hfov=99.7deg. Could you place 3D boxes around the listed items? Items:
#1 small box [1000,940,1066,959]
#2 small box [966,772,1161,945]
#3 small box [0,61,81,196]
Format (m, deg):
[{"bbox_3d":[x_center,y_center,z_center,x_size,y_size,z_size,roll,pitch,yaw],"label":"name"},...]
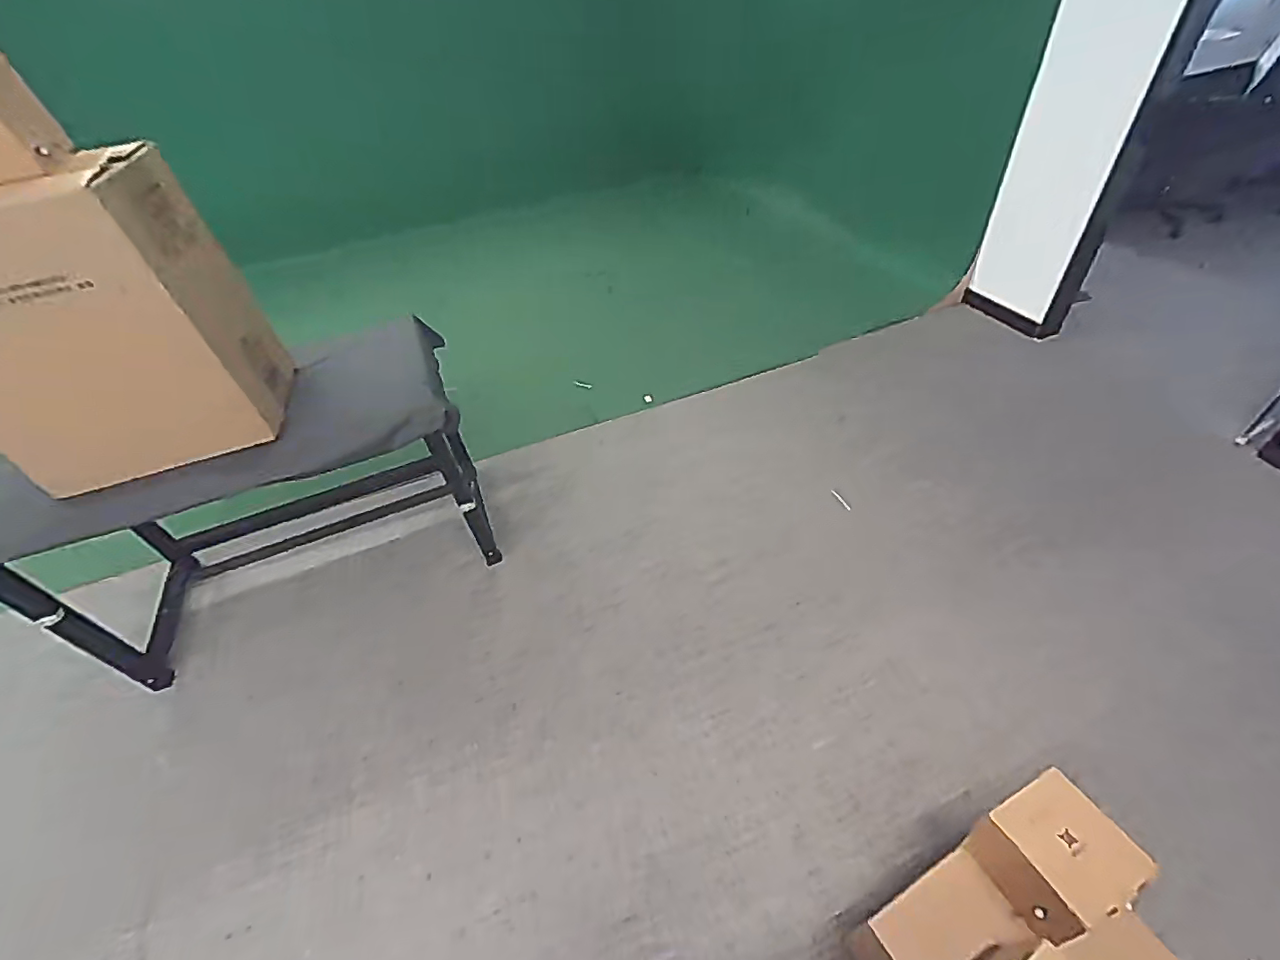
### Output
[{"bbox_3d":[0.576,0.813,0.771,0.168,0.176,0.179,-25,48,-17],"label":"small box"},{"bbox_3d":[0.706,0.649,0.923,0.168,0.176,0.179,-22,42,-15],"label":"small box"},{"bbox_3d":[-1.246,-0.663,1.031,0.179,0.176,0.168,-17,51,-8],"label":"small box"}]
